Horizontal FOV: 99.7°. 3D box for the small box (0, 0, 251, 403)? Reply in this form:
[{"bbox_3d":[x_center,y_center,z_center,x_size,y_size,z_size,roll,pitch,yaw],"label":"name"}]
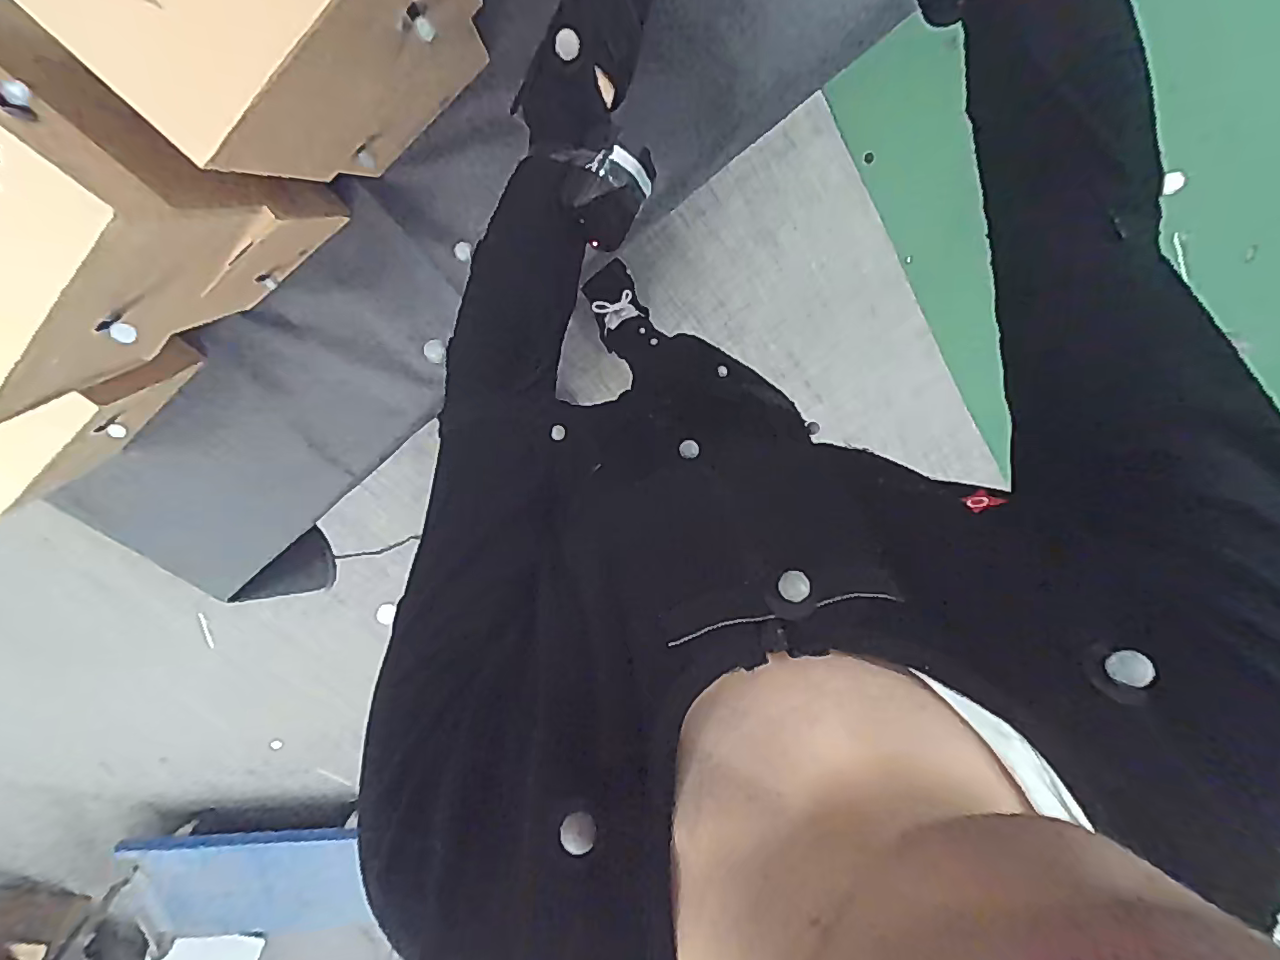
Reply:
[{"bbox_3d":[-0.395,-0.176,0.336,0.179,0.176,0.168,-41,116,15],"label":"small box"}]
